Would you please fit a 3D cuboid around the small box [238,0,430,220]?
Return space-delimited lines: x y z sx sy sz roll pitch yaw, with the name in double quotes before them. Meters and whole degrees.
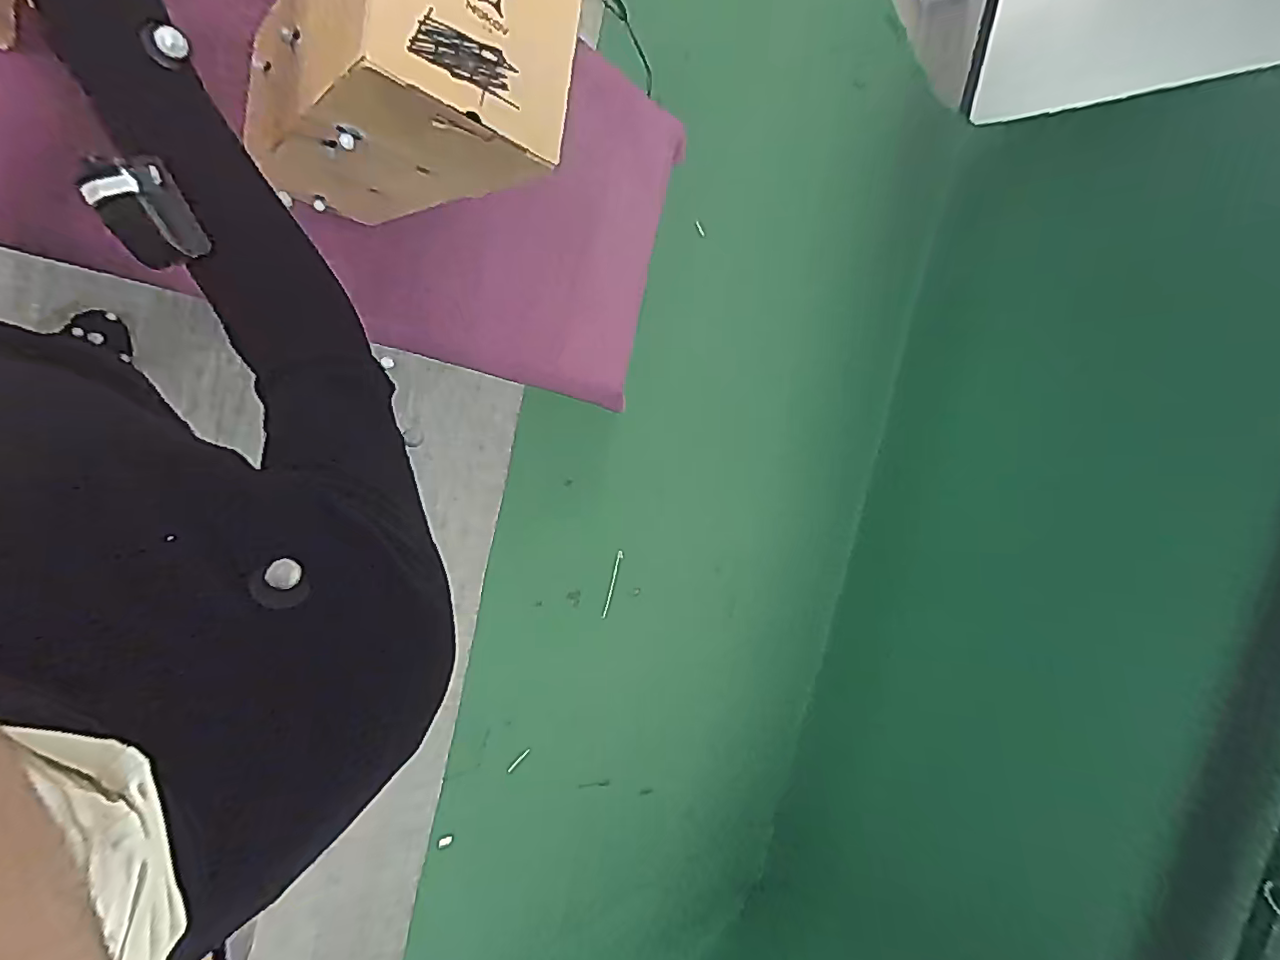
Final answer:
"small box" -0.394 -0.459 0.691 0.168 0.176 0.179 5 99 -46
